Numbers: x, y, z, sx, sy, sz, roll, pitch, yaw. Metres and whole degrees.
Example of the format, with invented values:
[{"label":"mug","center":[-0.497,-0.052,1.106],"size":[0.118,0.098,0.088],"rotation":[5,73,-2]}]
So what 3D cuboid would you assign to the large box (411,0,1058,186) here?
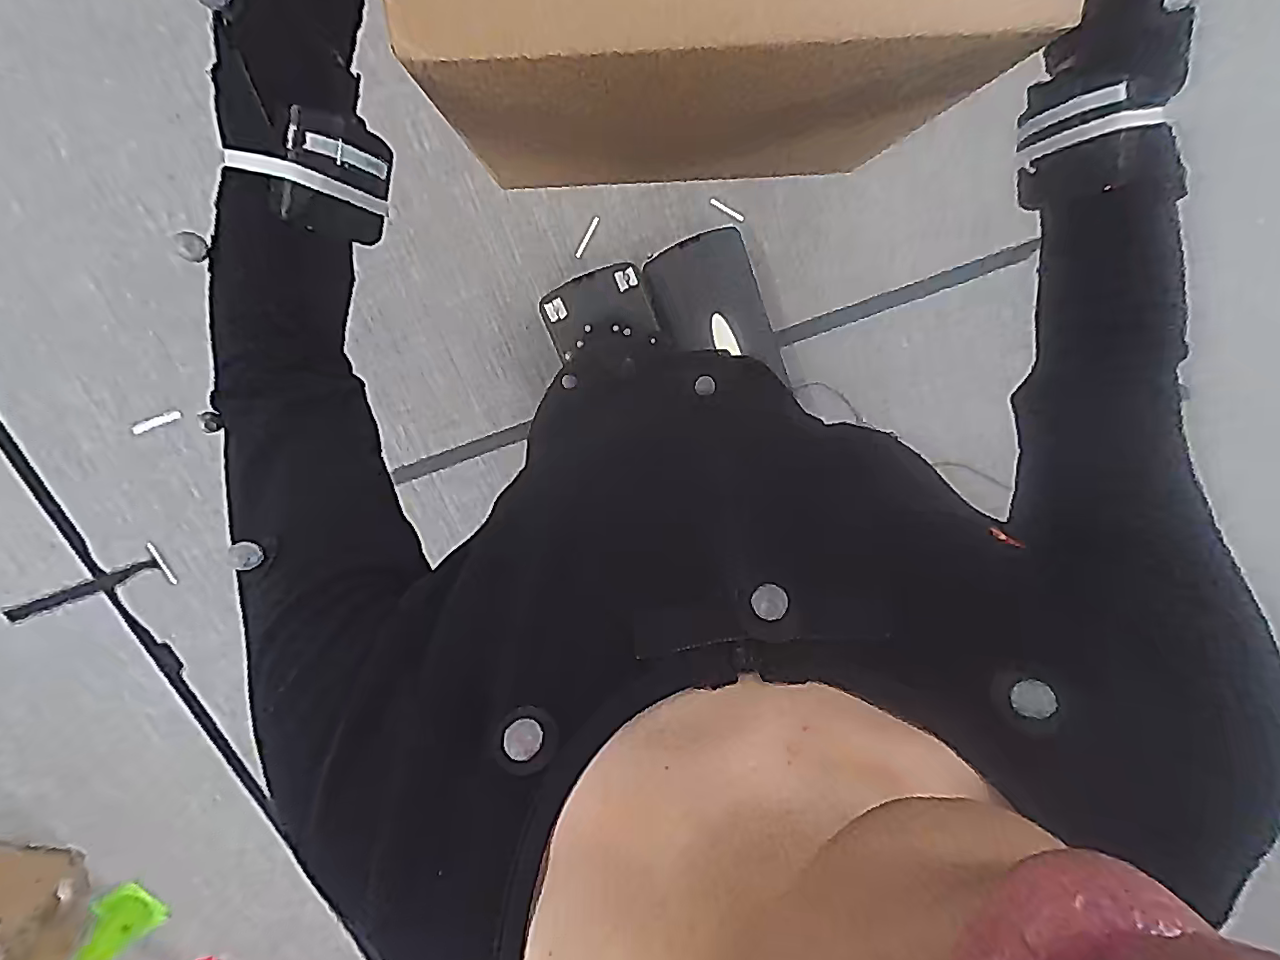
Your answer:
[{"label":"large box","center":[0.043,-0.453,0.433],"size":[0.408,0.320,0.320],"rotation":[-4,106,-3]}]
